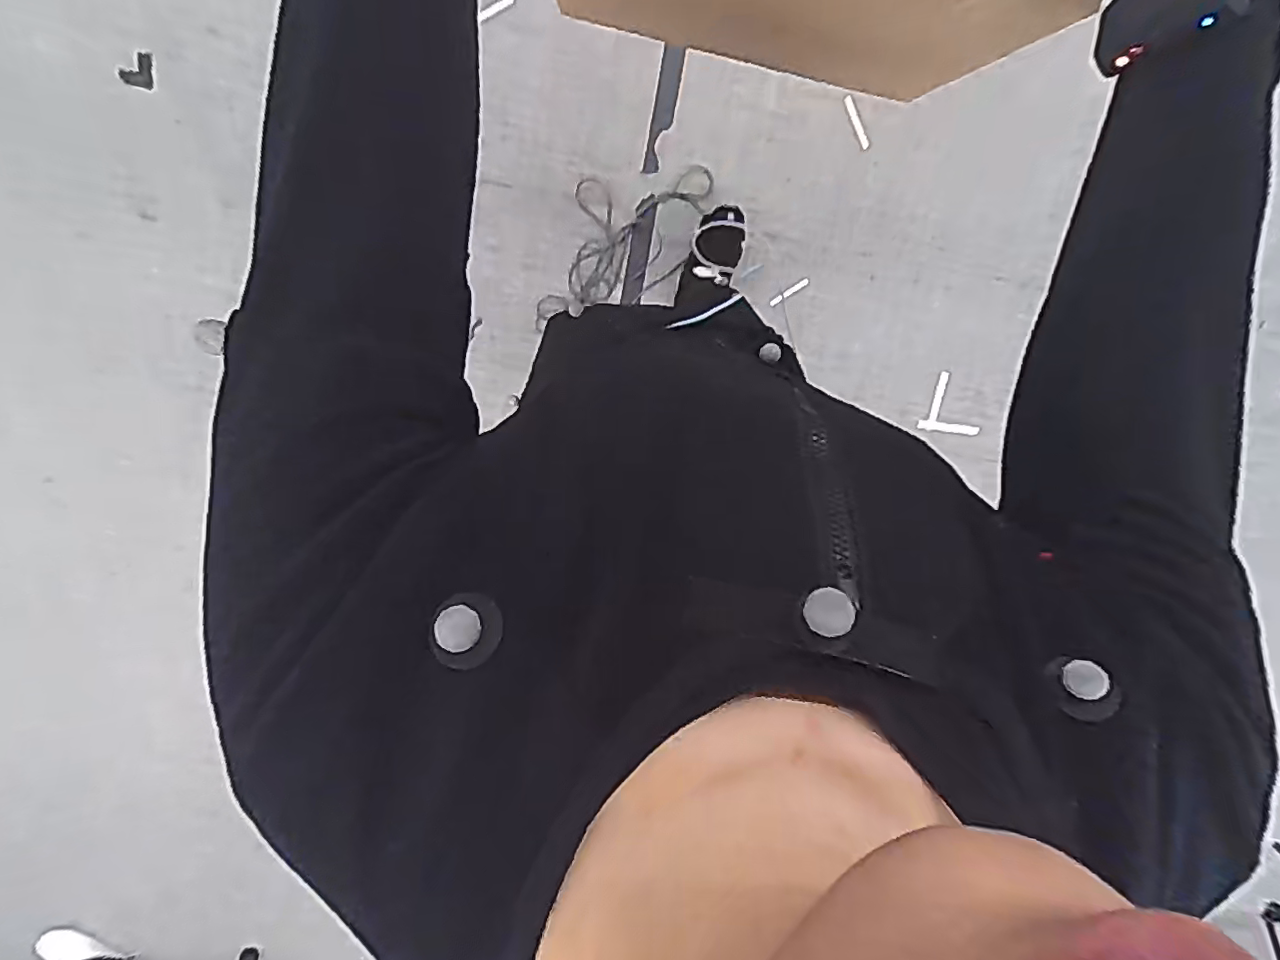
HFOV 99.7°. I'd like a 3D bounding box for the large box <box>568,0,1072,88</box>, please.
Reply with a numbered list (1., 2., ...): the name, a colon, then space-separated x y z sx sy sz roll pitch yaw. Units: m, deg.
1. large box: 0.145 -0.553 0.407 0.408 0.320 0.320 10 115 -6
